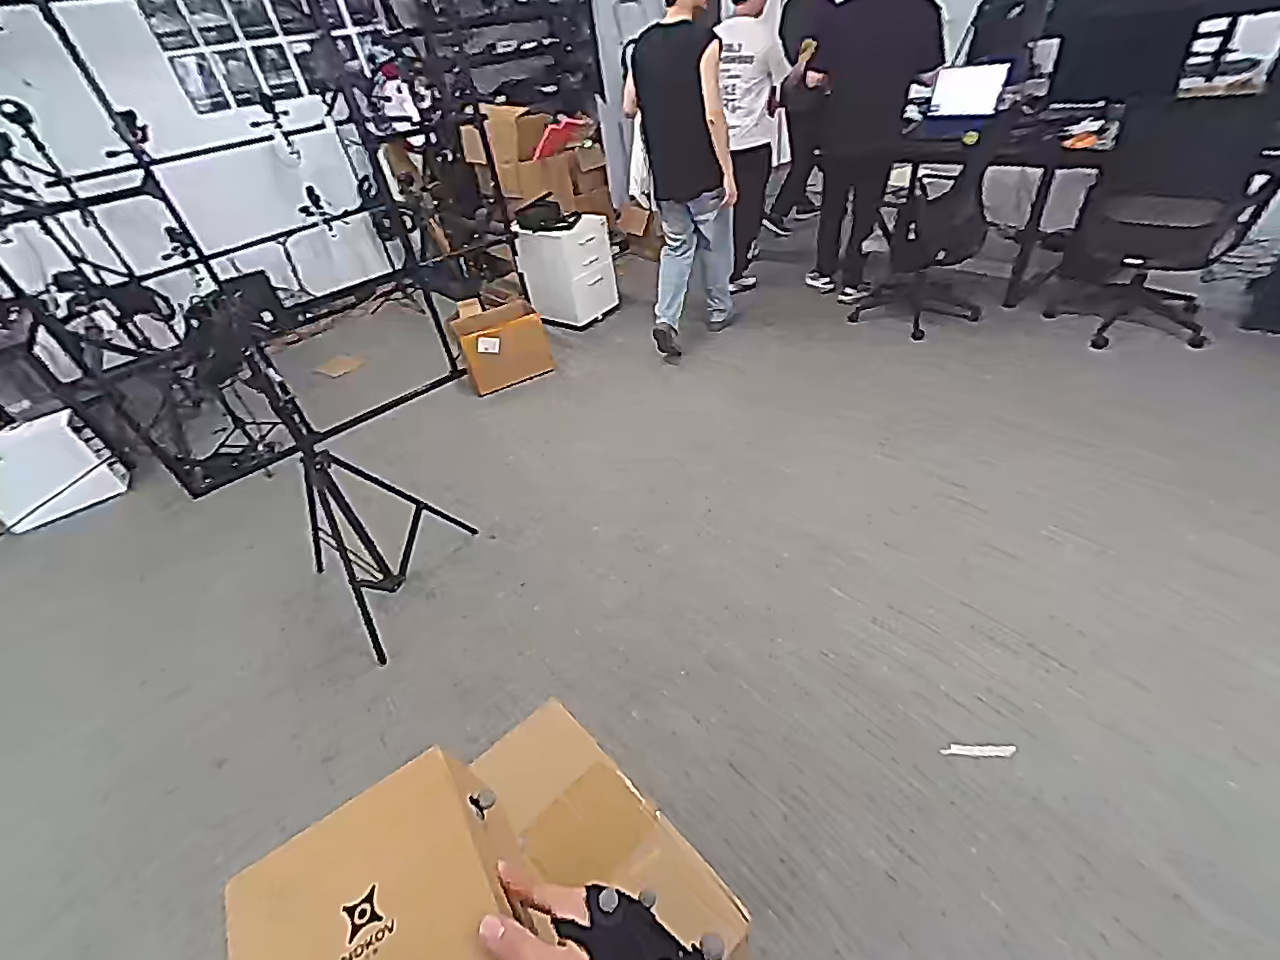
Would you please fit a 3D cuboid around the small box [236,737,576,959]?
[{"bbox_3d":[-0.166,0.344,0.412,0.168,0.176,0.179,-29,49,-18],"label":"small box"}]
